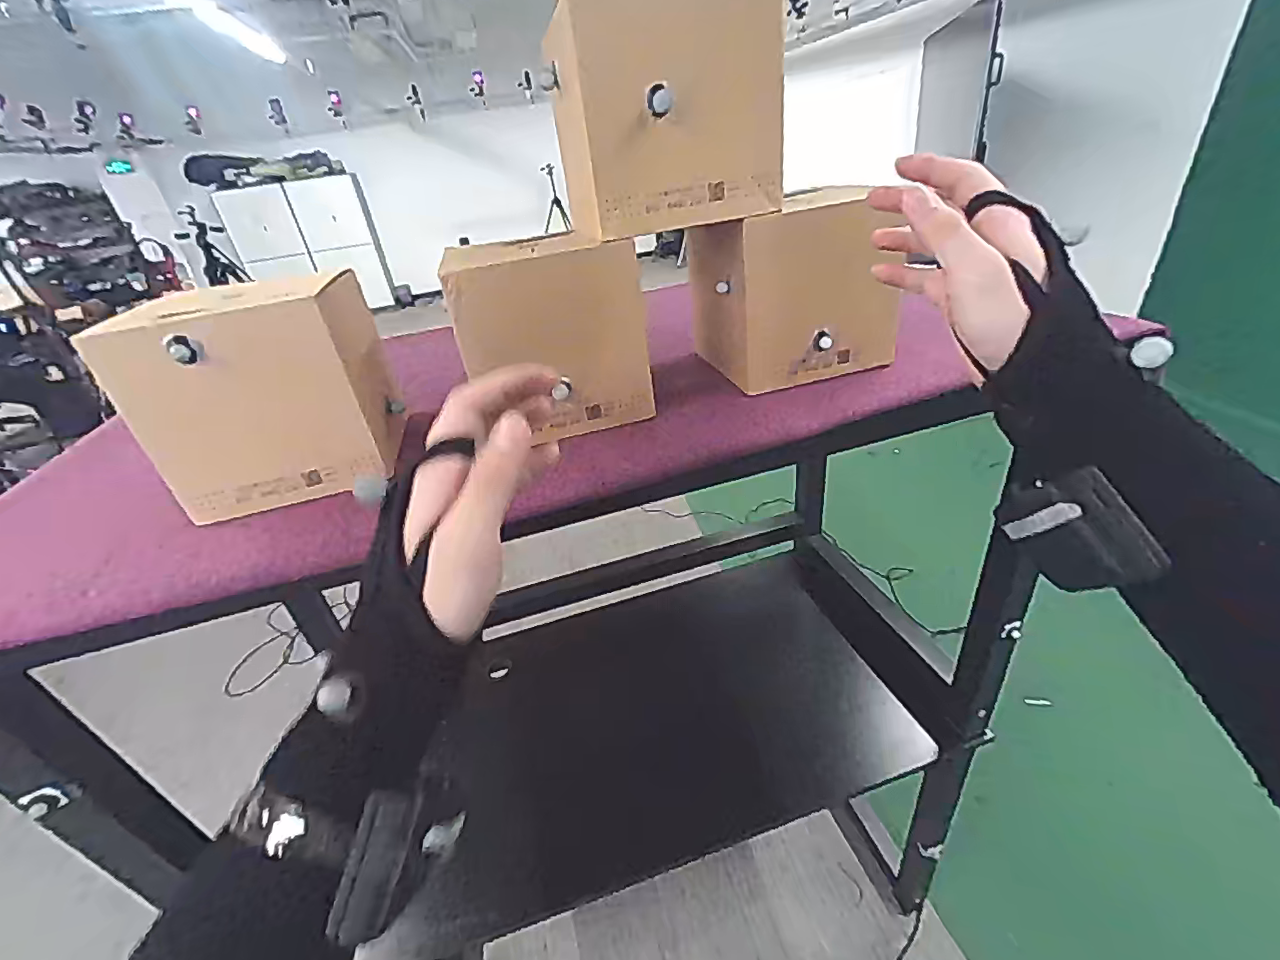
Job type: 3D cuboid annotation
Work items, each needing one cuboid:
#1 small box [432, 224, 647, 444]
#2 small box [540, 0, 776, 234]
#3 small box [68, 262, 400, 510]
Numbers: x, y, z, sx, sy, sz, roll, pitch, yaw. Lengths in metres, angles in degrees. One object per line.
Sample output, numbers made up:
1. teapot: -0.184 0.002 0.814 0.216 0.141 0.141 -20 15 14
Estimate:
1. small box: -0.098 -0.155 0.549 0.168 0.176 0.179 -14 32 -9
2. small box: 0.014 -0.325 0.488 0.168 0.176 0.179 -14 30 -8
3. small box: -0.339 -0.095 0.504 0.168 0.176 0.179 -15 30 -10
